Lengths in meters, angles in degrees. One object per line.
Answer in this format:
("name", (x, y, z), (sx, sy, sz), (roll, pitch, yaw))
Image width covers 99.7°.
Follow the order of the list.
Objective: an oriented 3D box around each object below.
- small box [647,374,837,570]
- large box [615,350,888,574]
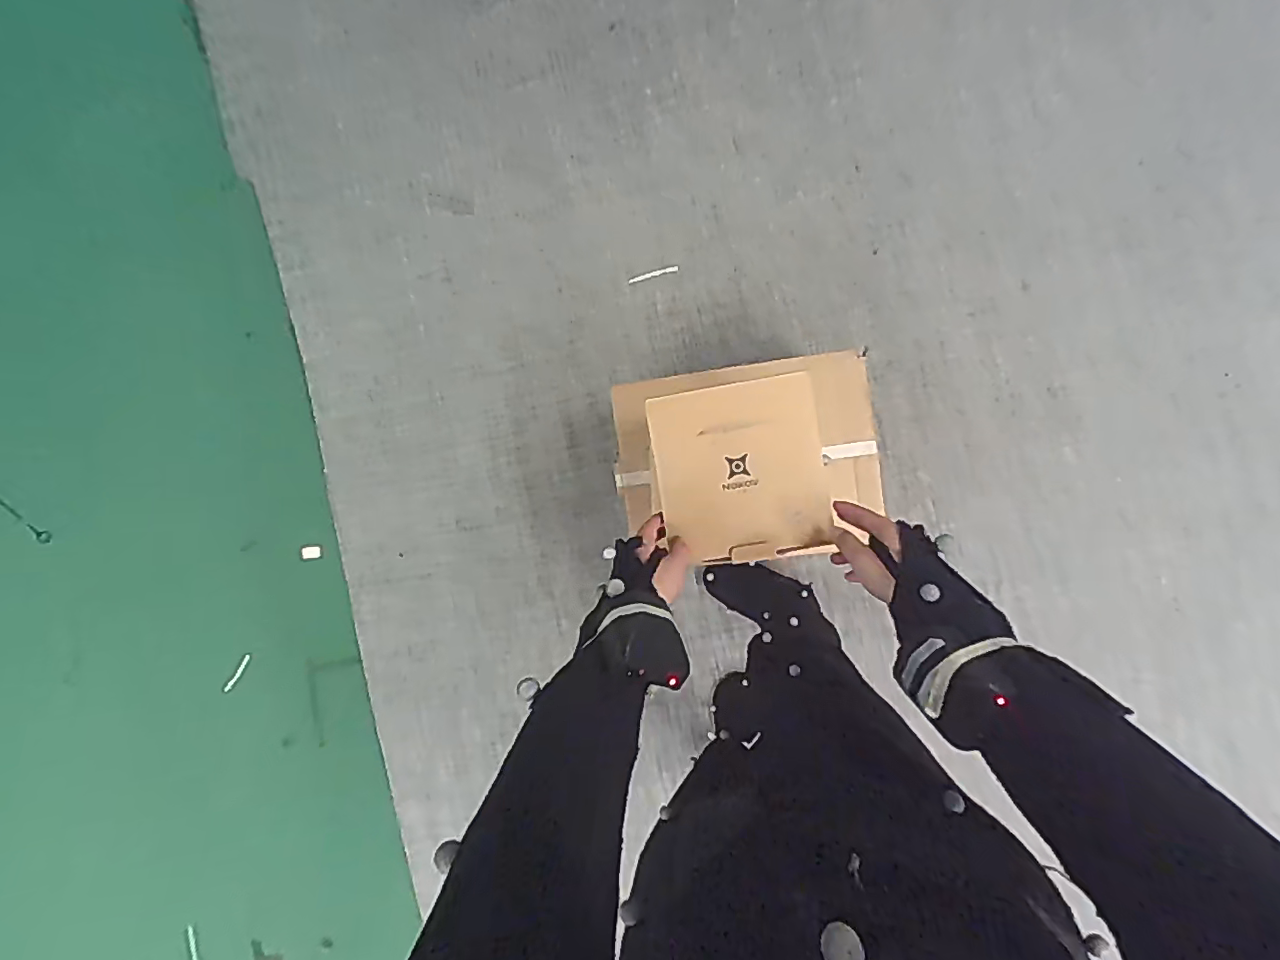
("small box", (0.110, -0.007, 0.615), (0.168, 0.176, 0.179), (-10, 88, 6))
("large box", (0.189, -0.027, 1.012), (0.408, 0.320, 0.320), (-8, 91, 7))
